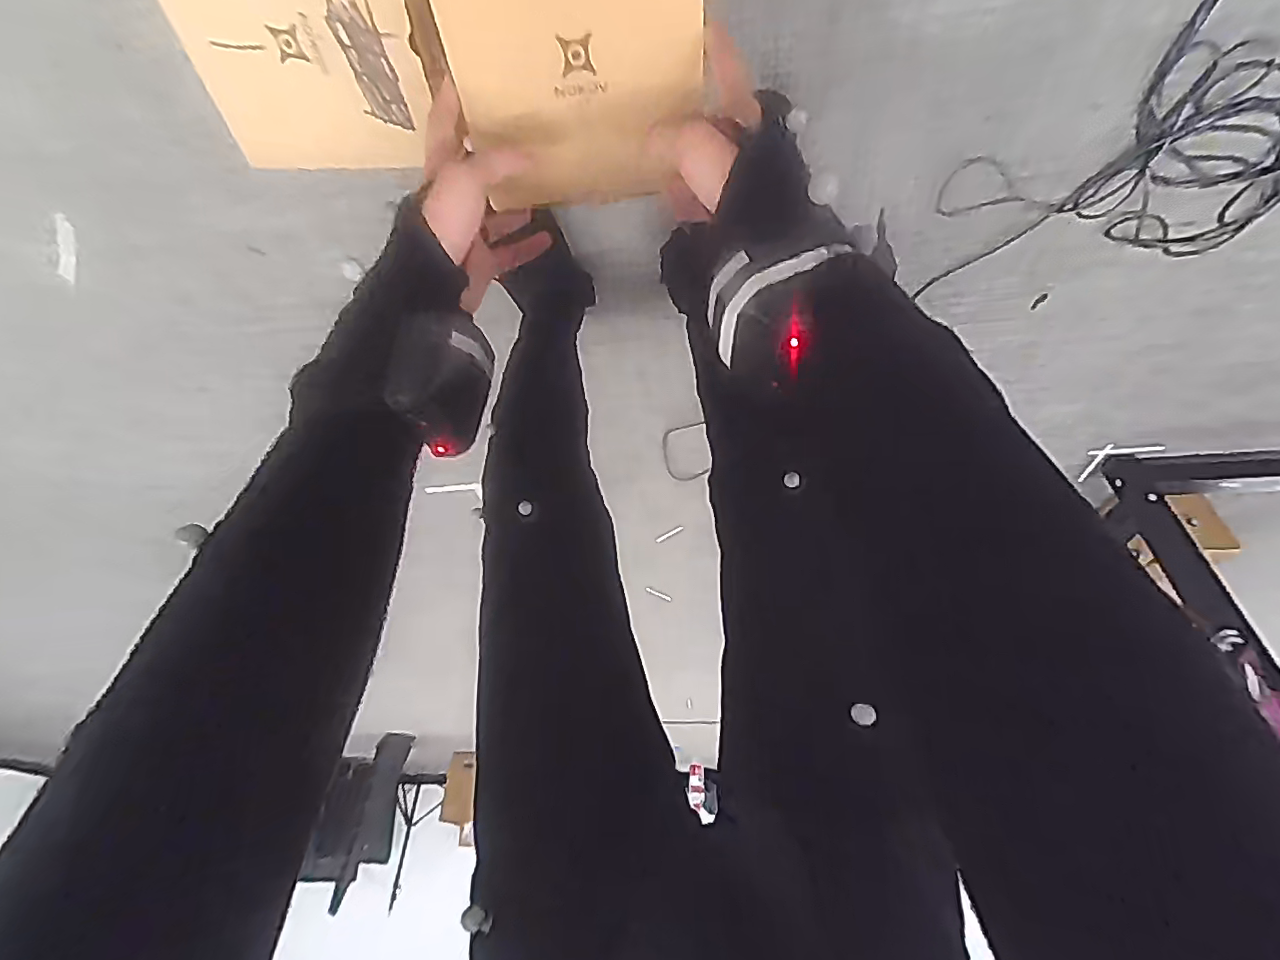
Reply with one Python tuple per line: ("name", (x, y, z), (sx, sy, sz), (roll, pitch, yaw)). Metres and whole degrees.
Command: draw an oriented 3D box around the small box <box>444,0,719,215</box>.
("small box", (-0.035, -0.326, 0.396), (0.168, 0.176, 0.179), (-4, 142, 3))
